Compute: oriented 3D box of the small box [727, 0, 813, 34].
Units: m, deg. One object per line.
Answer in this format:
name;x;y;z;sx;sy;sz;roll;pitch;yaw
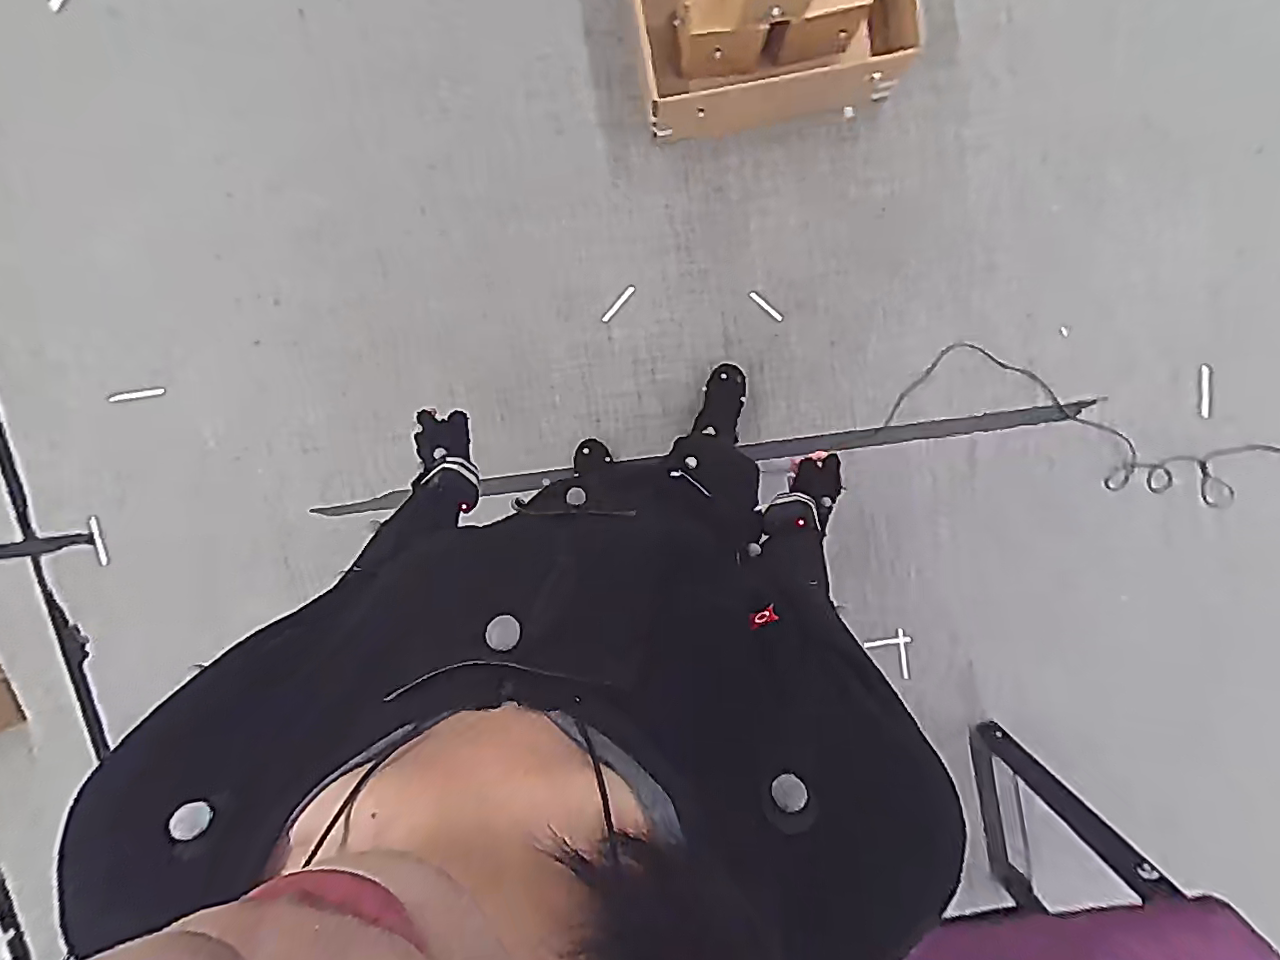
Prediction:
small box;0.265;-1.057;1.085;0.168;0.176;0.179;-12;98;-1
